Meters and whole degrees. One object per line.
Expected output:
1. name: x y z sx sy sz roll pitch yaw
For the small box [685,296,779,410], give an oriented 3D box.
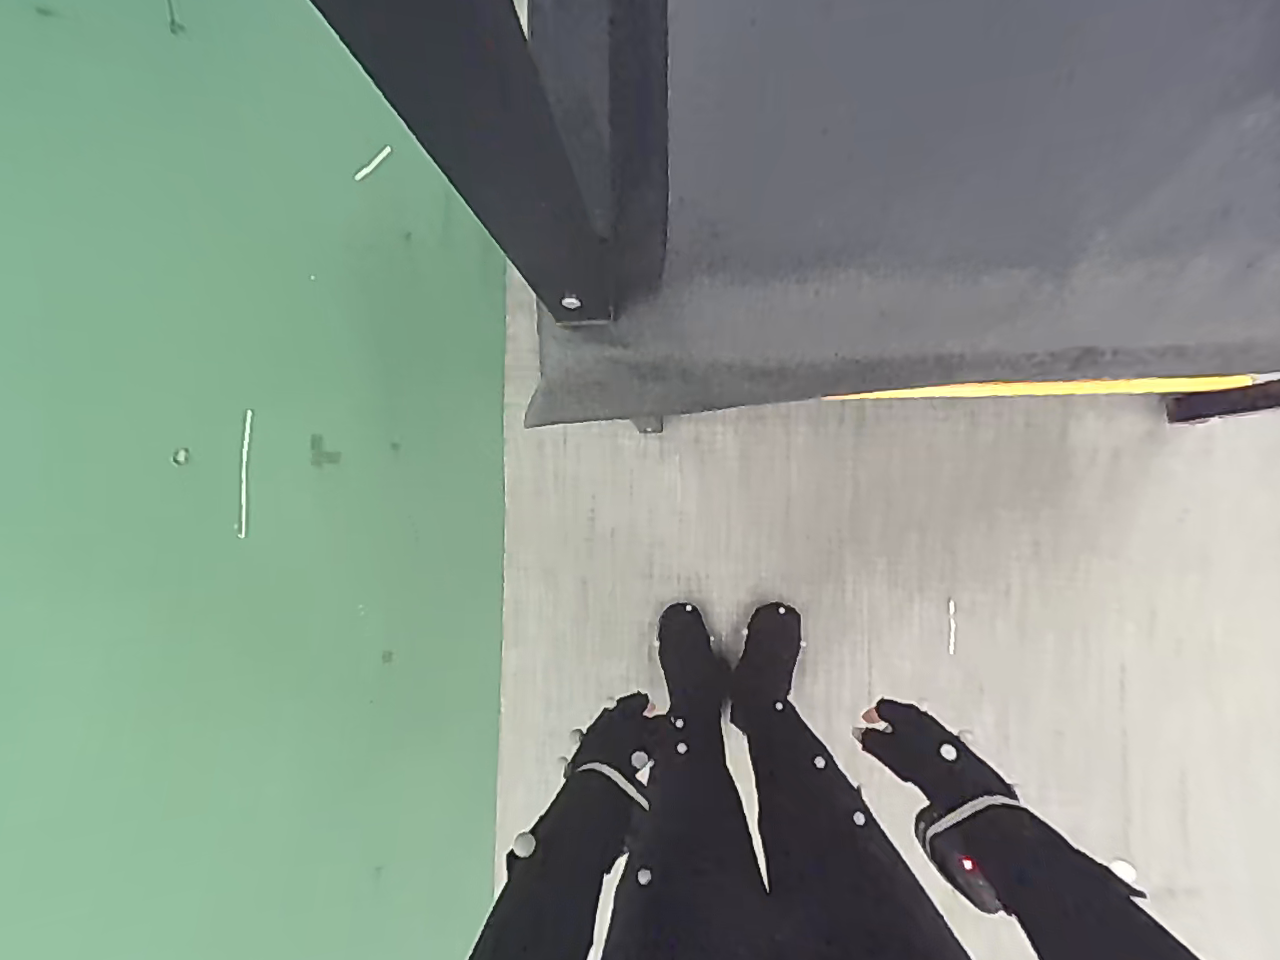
1. small box: 0.170 -0.236 1.040 0.168 0.176 0.179 -2 89 5
